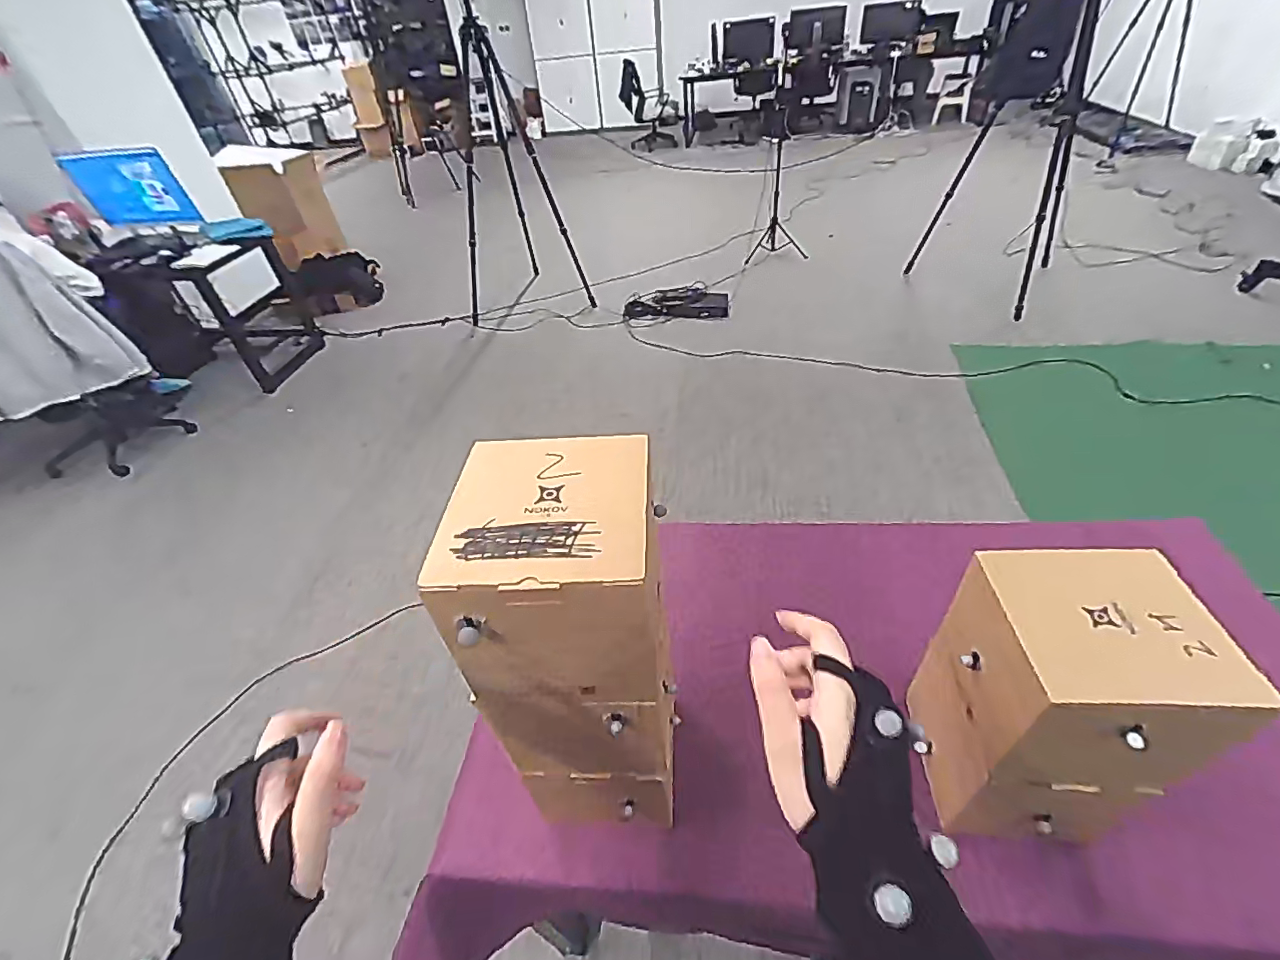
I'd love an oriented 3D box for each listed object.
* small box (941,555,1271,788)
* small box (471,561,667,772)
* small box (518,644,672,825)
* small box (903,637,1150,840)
[{"bbox_3d":[0.431,0.193,0.549,0.179,0.176,0.168,0,42,7],"label":"small box"},{"bbox_3d":[-0.062,0.208,0.602,0.179,0.176,0.168,-1,42,4],"label":"small box"},{"bbox_3d":[-0.044,0.329,0.708,0.168,0.176,0.179,0,41,6],"label":"small box"},{"bbox_3d":[0.443,0.315,0.660,0.168,0.176,0.179,0,43,7],"label":"small box"}]
